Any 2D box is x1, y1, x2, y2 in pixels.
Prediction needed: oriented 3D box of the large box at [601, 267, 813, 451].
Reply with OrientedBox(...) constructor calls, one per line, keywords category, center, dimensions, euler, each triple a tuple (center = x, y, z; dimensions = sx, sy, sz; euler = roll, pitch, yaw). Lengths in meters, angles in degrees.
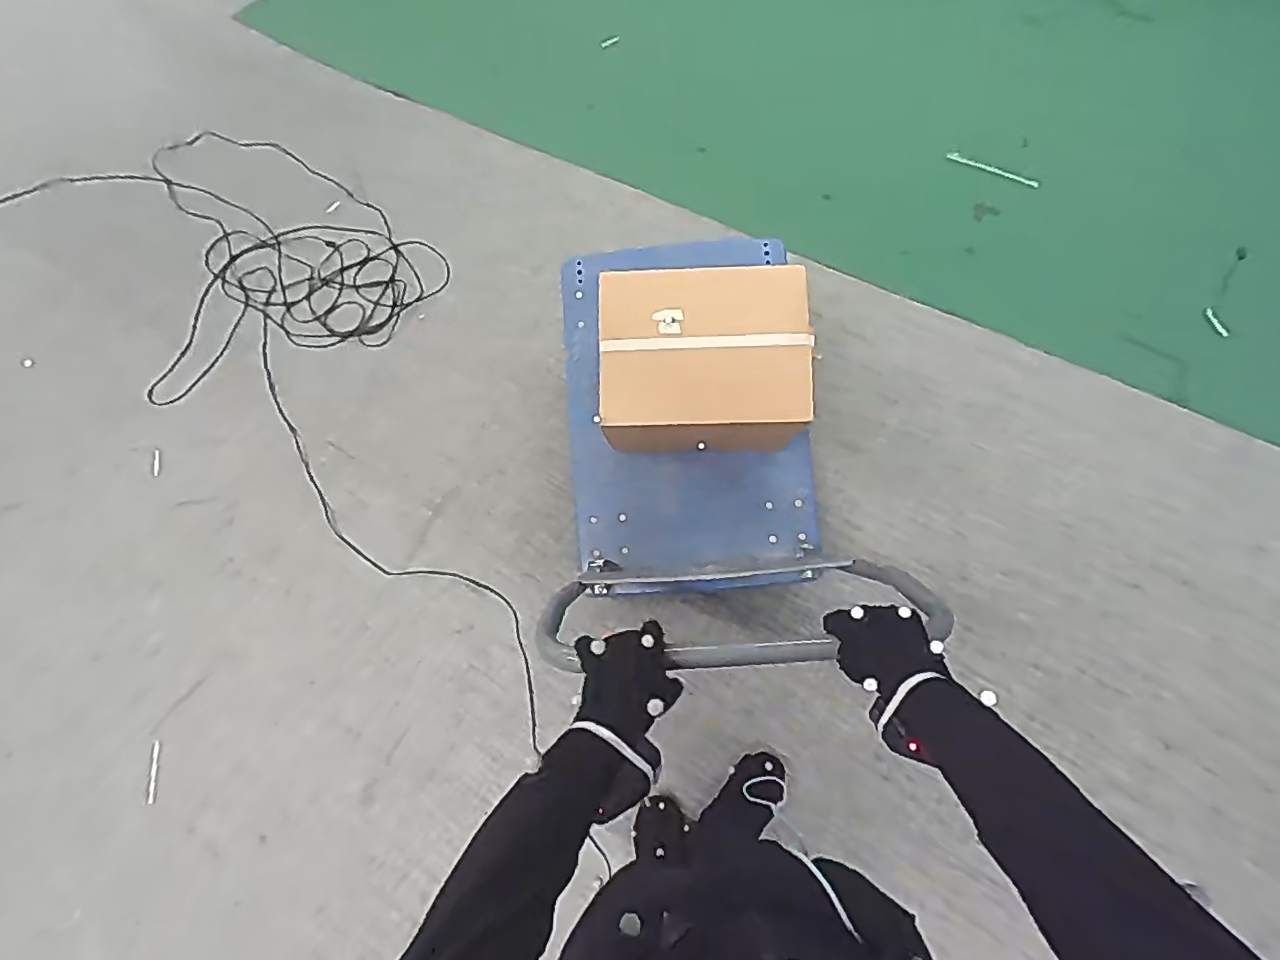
OrientedBox(category="large box", center=(0.136, -0.239, 1.185), dimensions=(0.408, 0.320, 0.320), euler=(-1, 83, 4))
